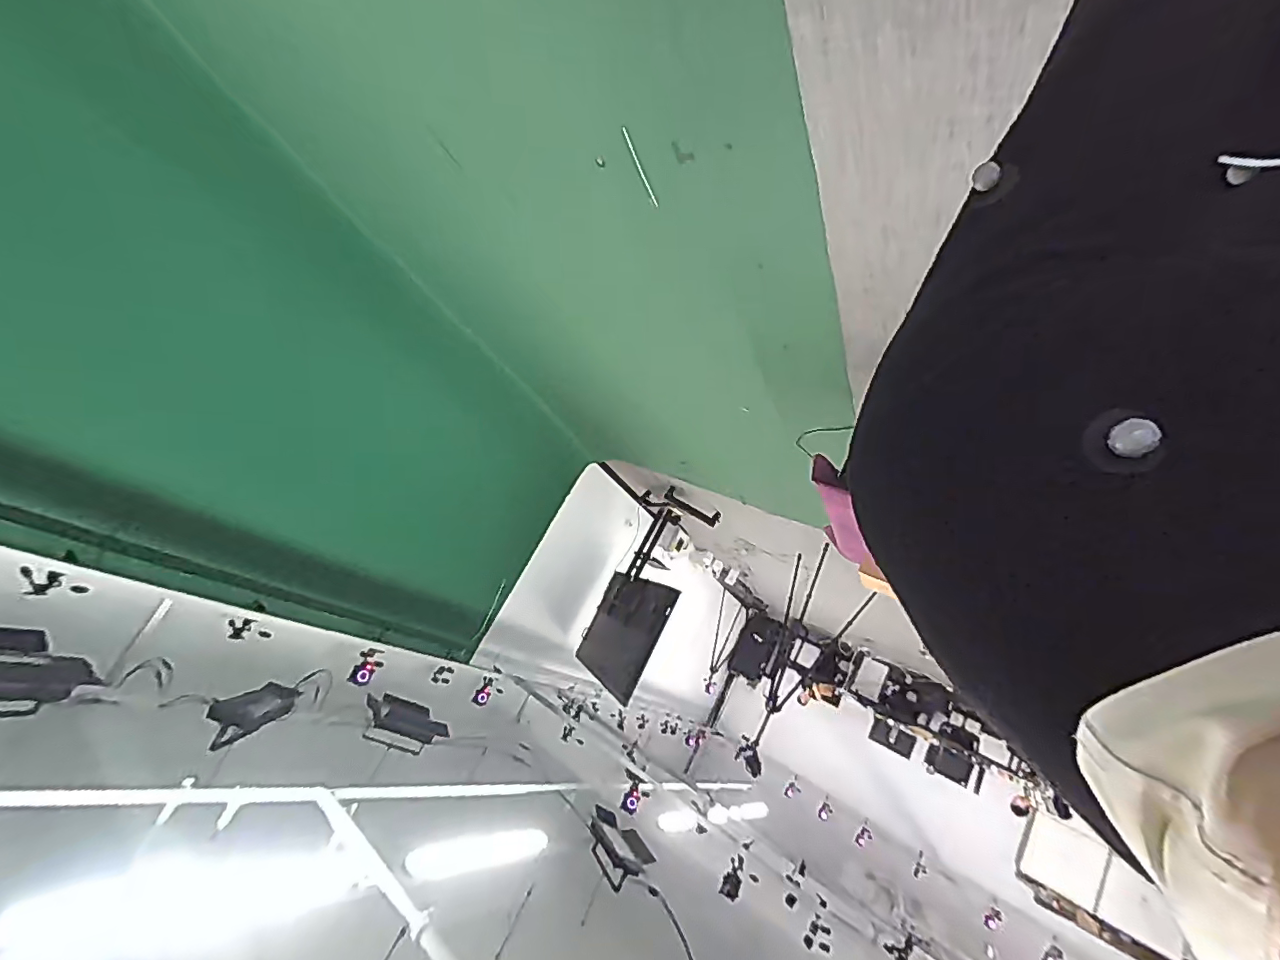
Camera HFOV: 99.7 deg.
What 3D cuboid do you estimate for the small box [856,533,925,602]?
[{"bbox_3d":[0.898,0.308,1.935,0.179,0.176,0.168,19,164,34],"label":"small box"}]
